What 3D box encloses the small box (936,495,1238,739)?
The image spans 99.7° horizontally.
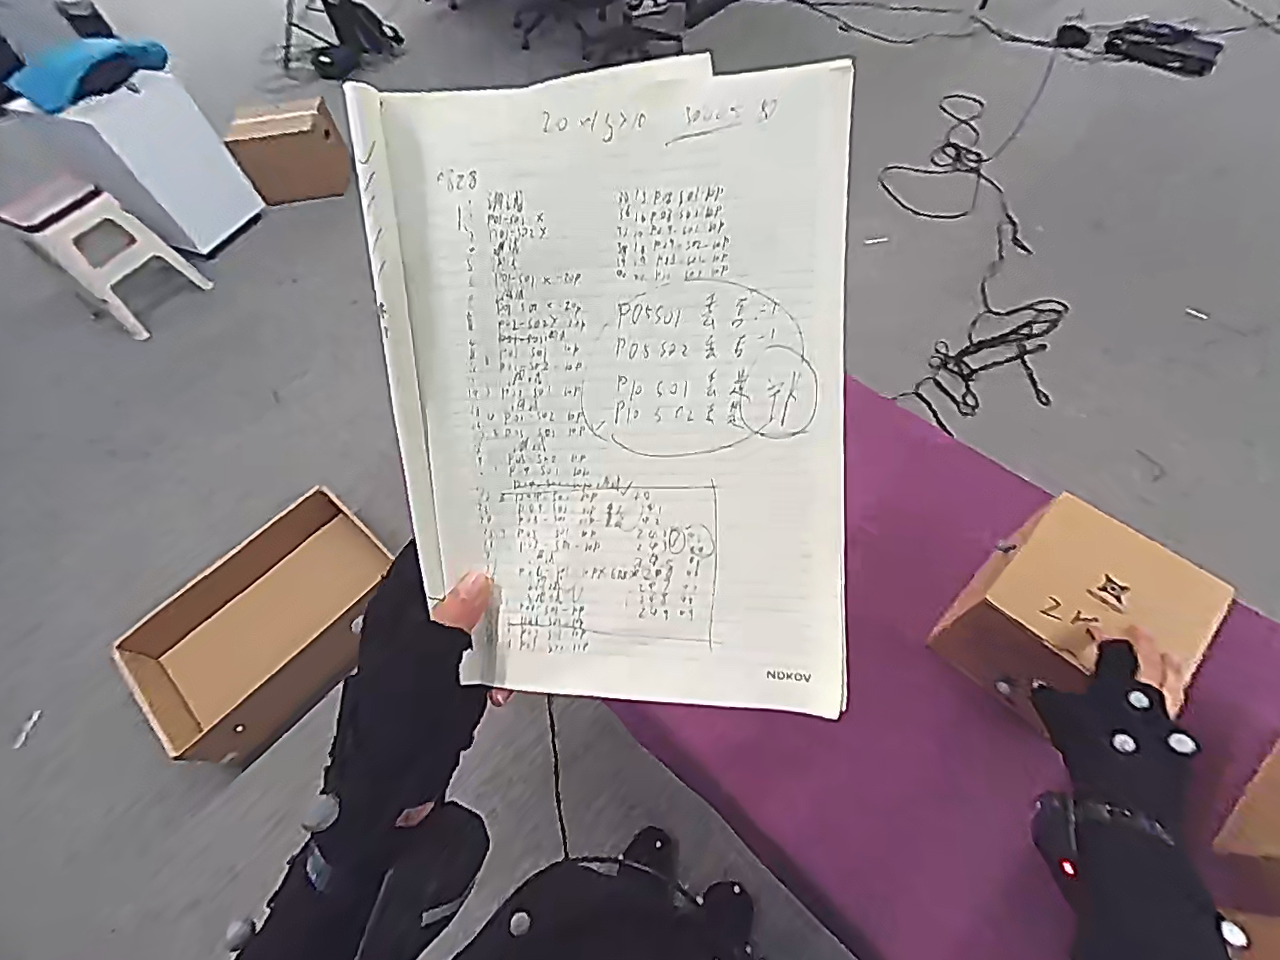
[{"bbox_3d":[0.469,0.155,0.598,0.179,0.176,0.168,-41,64,-17],"label":"small box"}]

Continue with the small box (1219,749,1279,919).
[{"bbox_3d":[0.683,0.340,0.467,0.179,0.176,0.168,-36,62,-16],"label":"small box"}]

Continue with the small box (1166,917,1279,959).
[{"bbox_3d":[0.516,0.474,0.401,0.179,0.176,0.168,-34,61,-15],"label":"small box"}]
